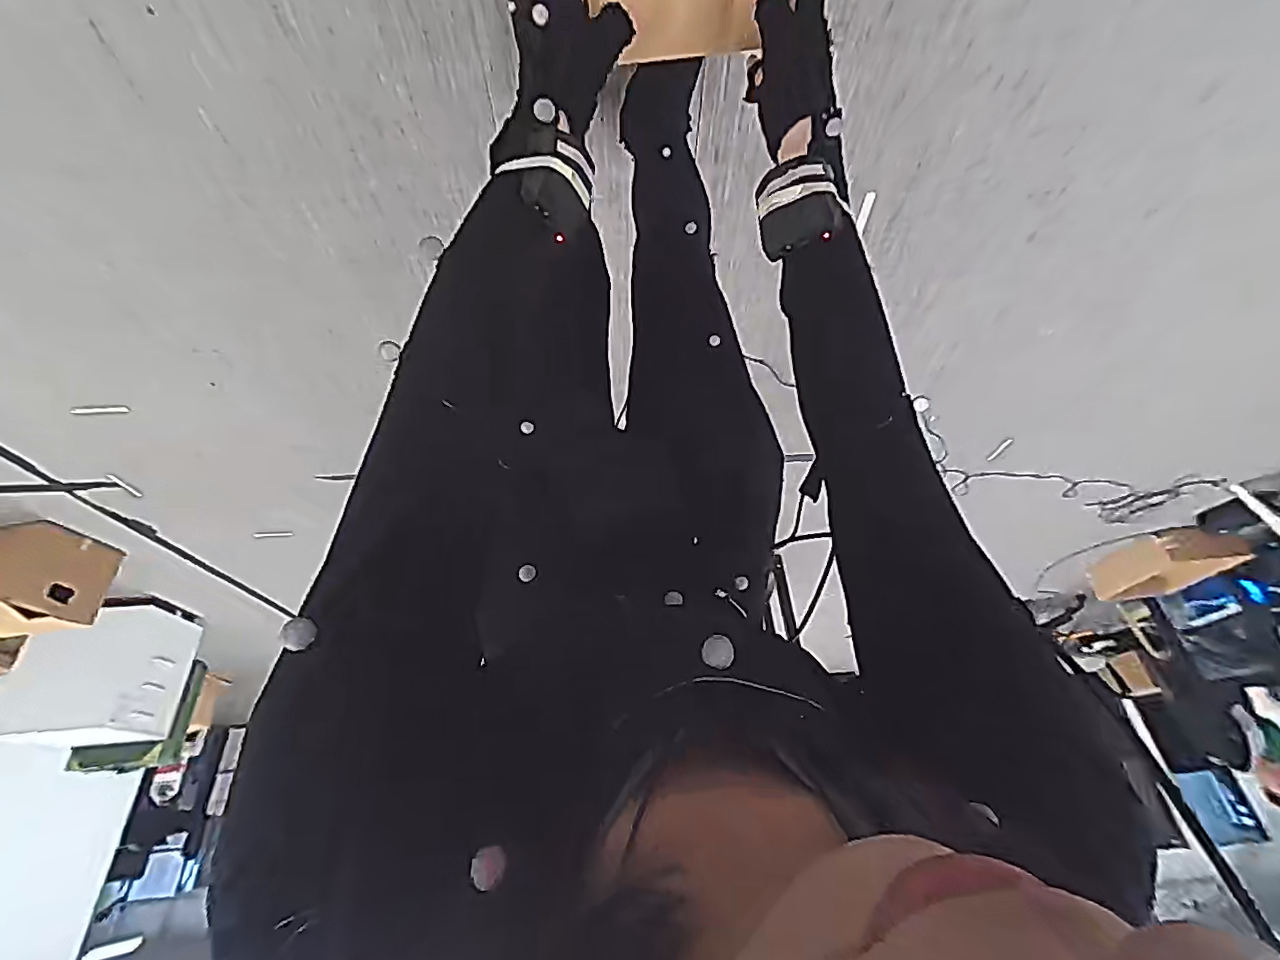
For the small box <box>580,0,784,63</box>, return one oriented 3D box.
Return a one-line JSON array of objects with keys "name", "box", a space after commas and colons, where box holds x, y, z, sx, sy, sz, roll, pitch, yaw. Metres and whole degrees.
[{"name": "small box", "box": [0.031, -0.495, 0.467, 0.179, 0.176, 0.168, -5, 148, 0]}]
